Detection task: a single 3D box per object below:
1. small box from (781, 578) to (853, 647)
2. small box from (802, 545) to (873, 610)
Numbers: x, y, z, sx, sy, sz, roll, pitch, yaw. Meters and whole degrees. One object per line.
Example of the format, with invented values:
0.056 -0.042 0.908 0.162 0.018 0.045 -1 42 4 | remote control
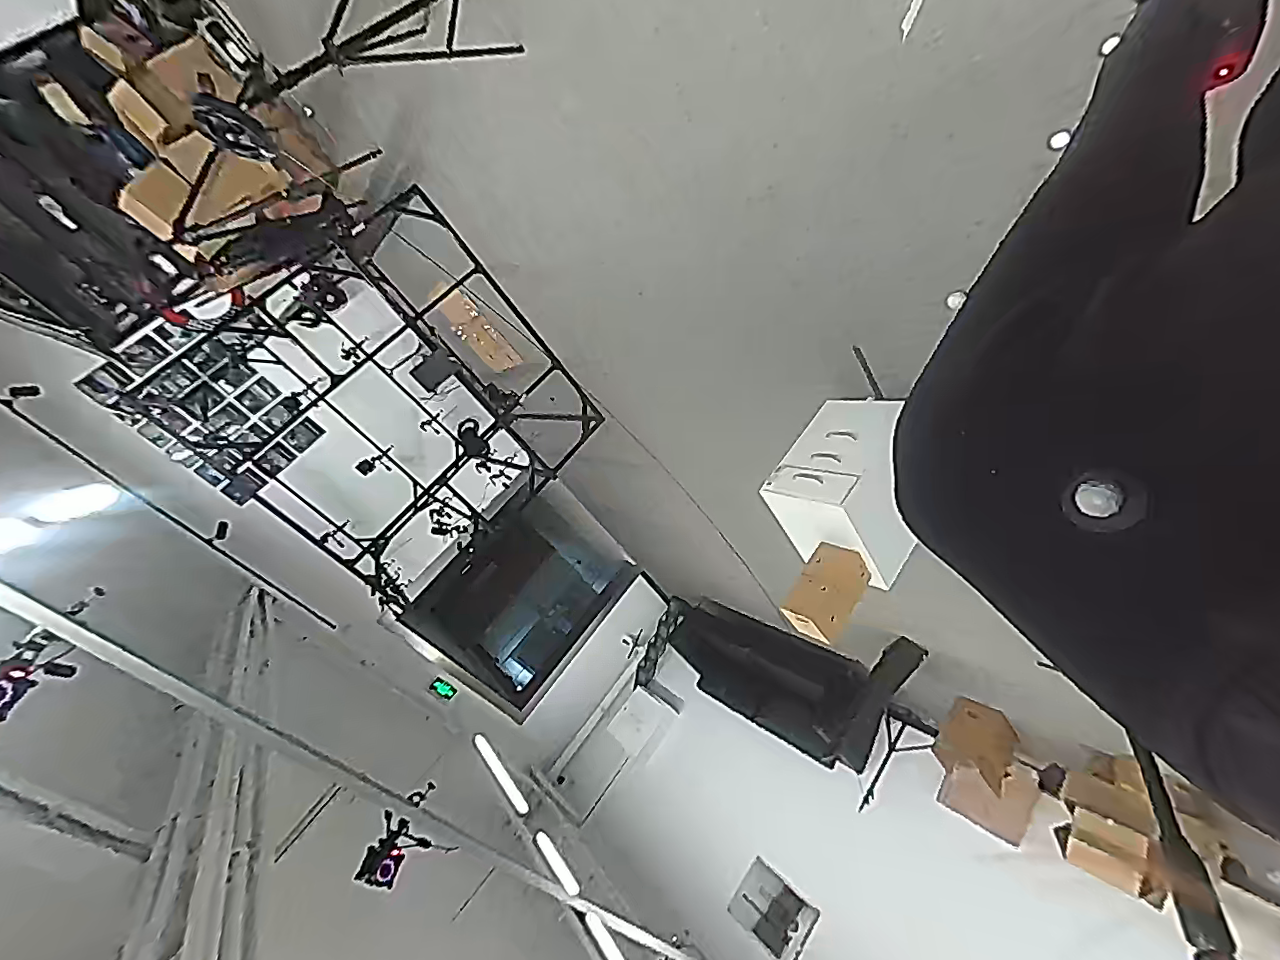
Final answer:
0.684 0.502 2.083 0.179 0.176 0.168 48 162 -27 | small box
0.782 0.379 2.131 0.179 0.176 0.168 15 149 54 | small box
